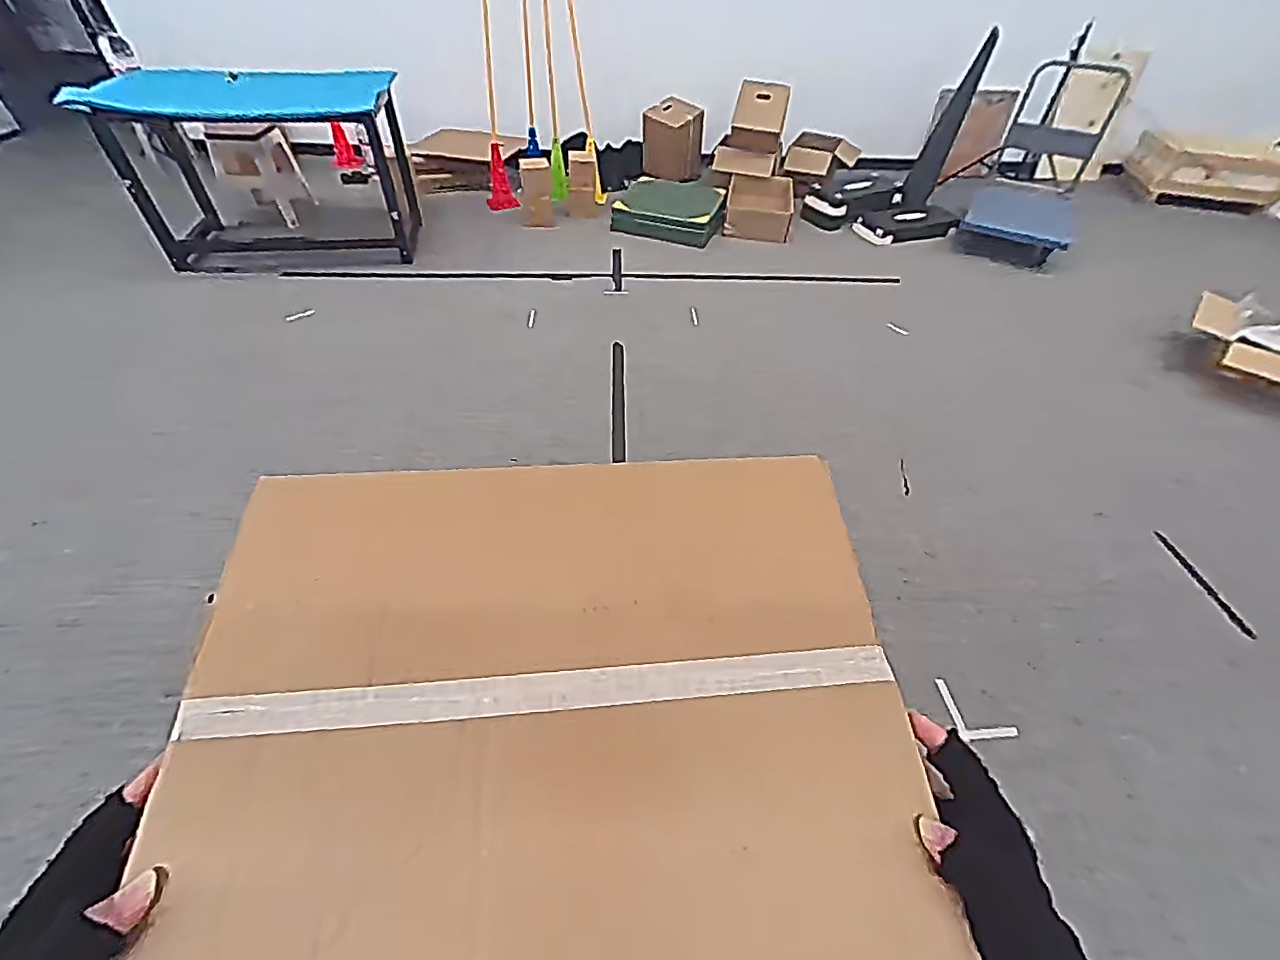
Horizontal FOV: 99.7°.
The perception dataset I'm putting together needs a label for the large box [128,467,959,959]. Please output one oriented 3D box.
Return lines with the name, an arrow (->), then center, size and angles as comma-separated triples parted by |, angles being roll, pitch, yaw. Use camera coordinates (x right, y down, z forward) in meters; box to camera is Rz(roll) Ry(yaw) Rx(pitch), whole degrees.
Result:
large box -> -0.057, 0.208, 0.447 | 0.408, 0.320, 0.320 | -3, 58, -5
